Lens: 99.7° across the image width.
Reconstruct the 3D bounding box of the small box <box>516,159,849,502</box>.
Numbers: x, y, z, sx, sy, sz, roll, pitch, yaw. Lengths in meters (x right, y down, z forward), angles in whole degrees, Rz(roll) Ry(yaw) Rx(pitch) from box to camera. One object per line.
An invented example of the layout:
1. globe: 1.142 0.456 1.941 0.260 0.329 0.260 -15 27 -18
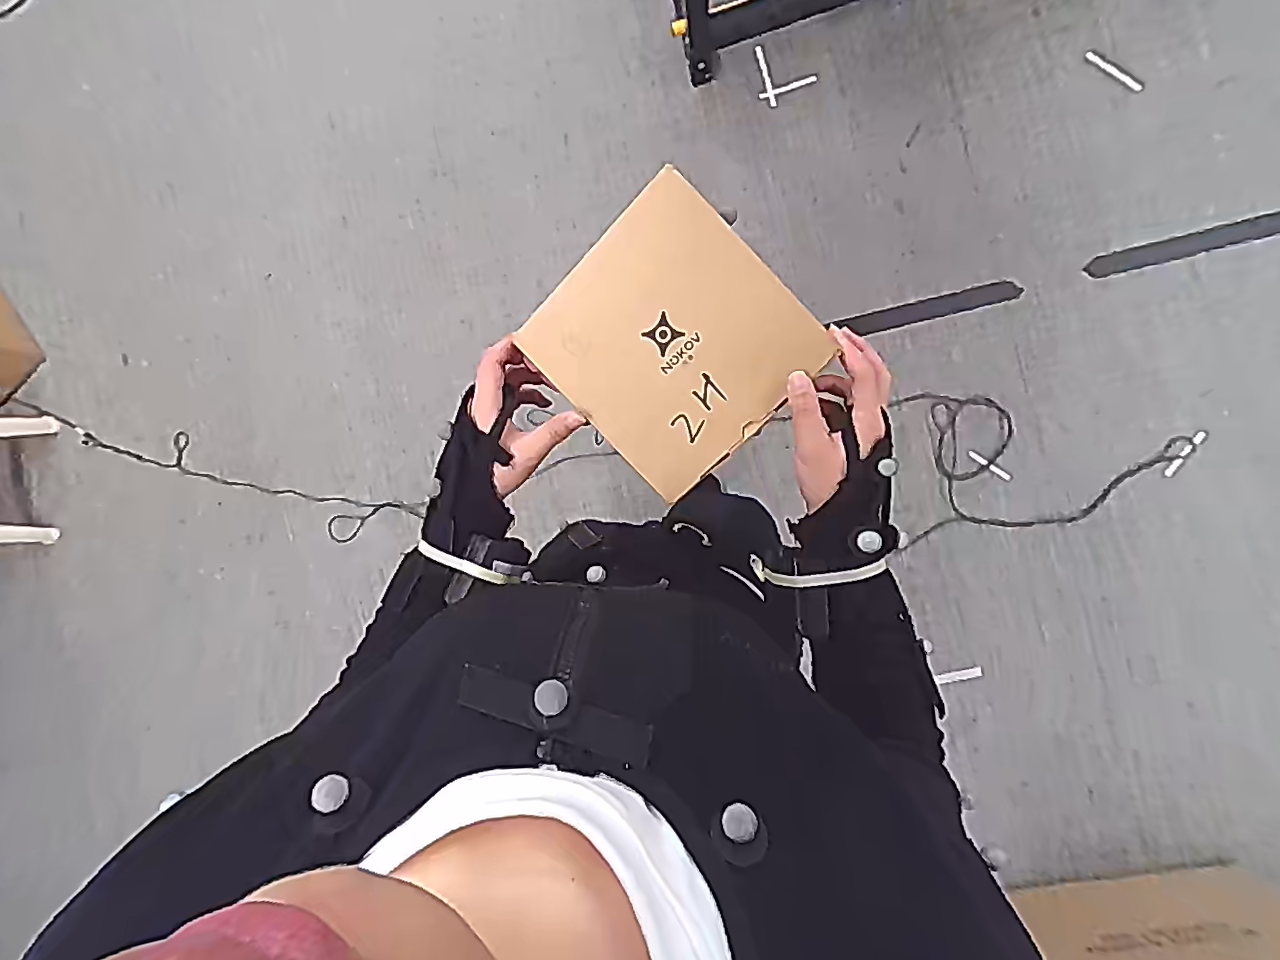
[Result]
1. small box: 0.036 -0.111 0.451 0.168 0.176 0.179 -43 92 15
